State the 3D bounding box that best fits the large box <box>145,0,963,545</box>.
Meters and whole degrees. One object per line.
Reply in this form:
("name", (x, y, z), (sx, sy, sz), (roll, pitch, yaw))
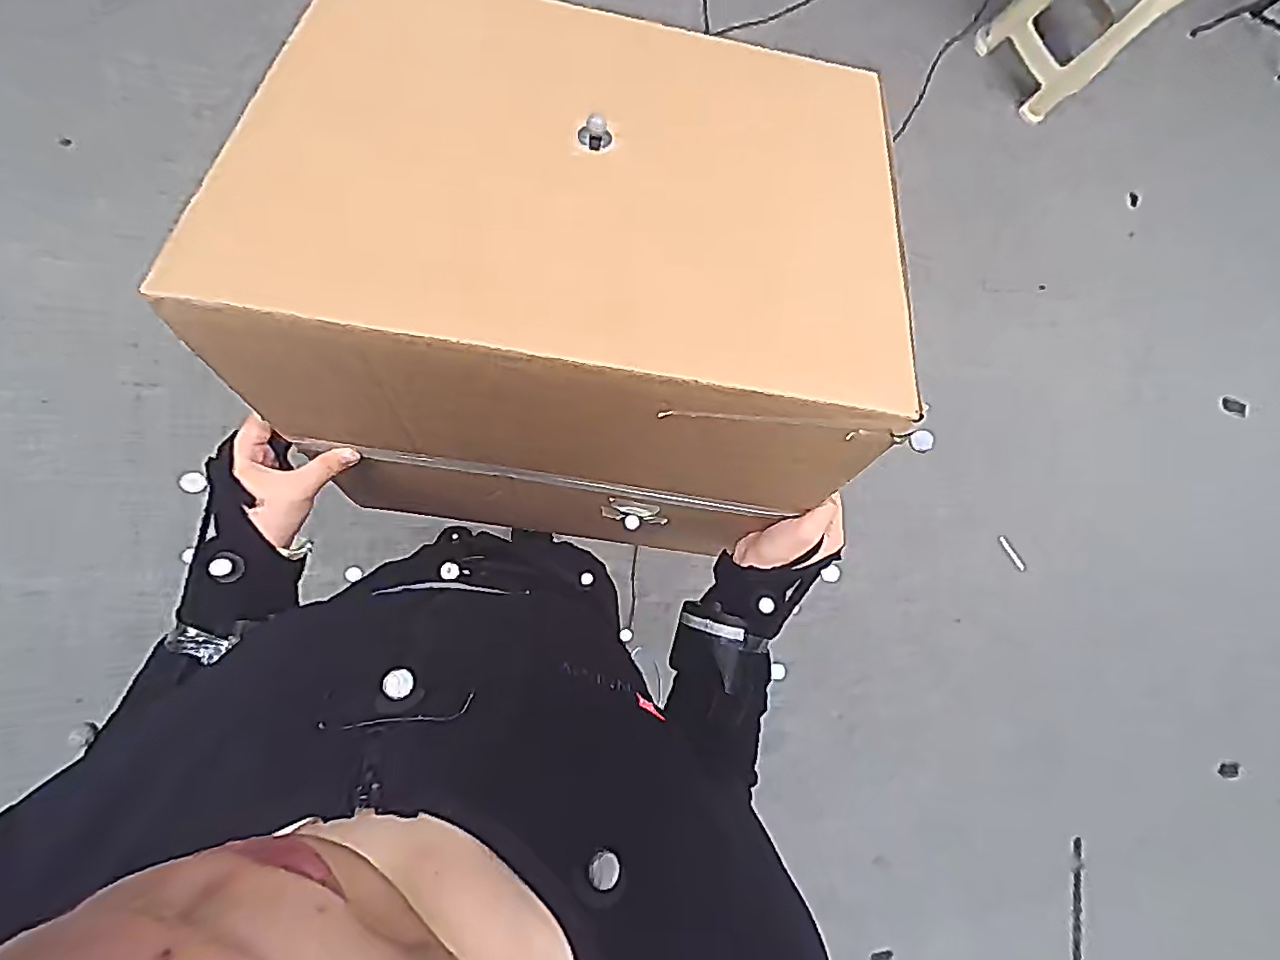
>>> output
("large box", (-0.039, -0.154, 0.453), (0.408, 0.320, 0.320), (7, 68, -5))
